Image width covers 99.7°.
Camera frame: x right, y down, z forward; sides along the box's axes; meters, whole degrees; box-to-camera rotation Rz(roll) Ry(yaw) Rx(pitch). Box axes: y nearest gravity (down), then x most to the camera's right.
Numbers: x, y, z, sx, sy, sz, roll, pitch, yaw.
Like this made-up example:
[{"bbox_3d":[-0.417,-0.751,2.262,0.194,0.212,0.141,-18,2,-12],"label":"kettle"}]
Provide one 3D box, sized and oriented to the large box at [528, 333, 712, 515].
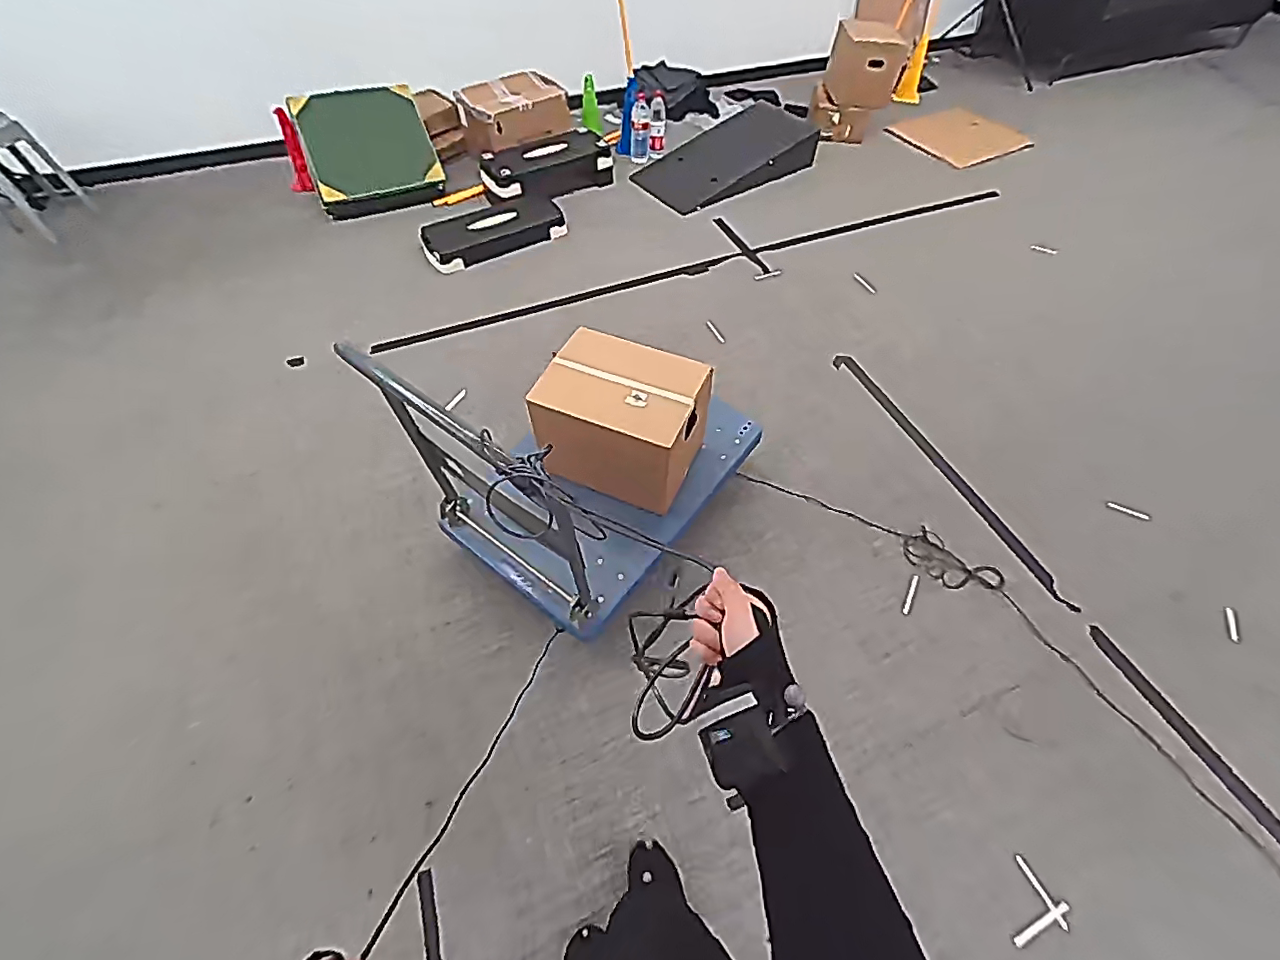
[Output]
[{"bbox_3d":[-0.051,-0.157,1.528,0.408,0.320,0.320,20,57,13],"label":"large box"}]
